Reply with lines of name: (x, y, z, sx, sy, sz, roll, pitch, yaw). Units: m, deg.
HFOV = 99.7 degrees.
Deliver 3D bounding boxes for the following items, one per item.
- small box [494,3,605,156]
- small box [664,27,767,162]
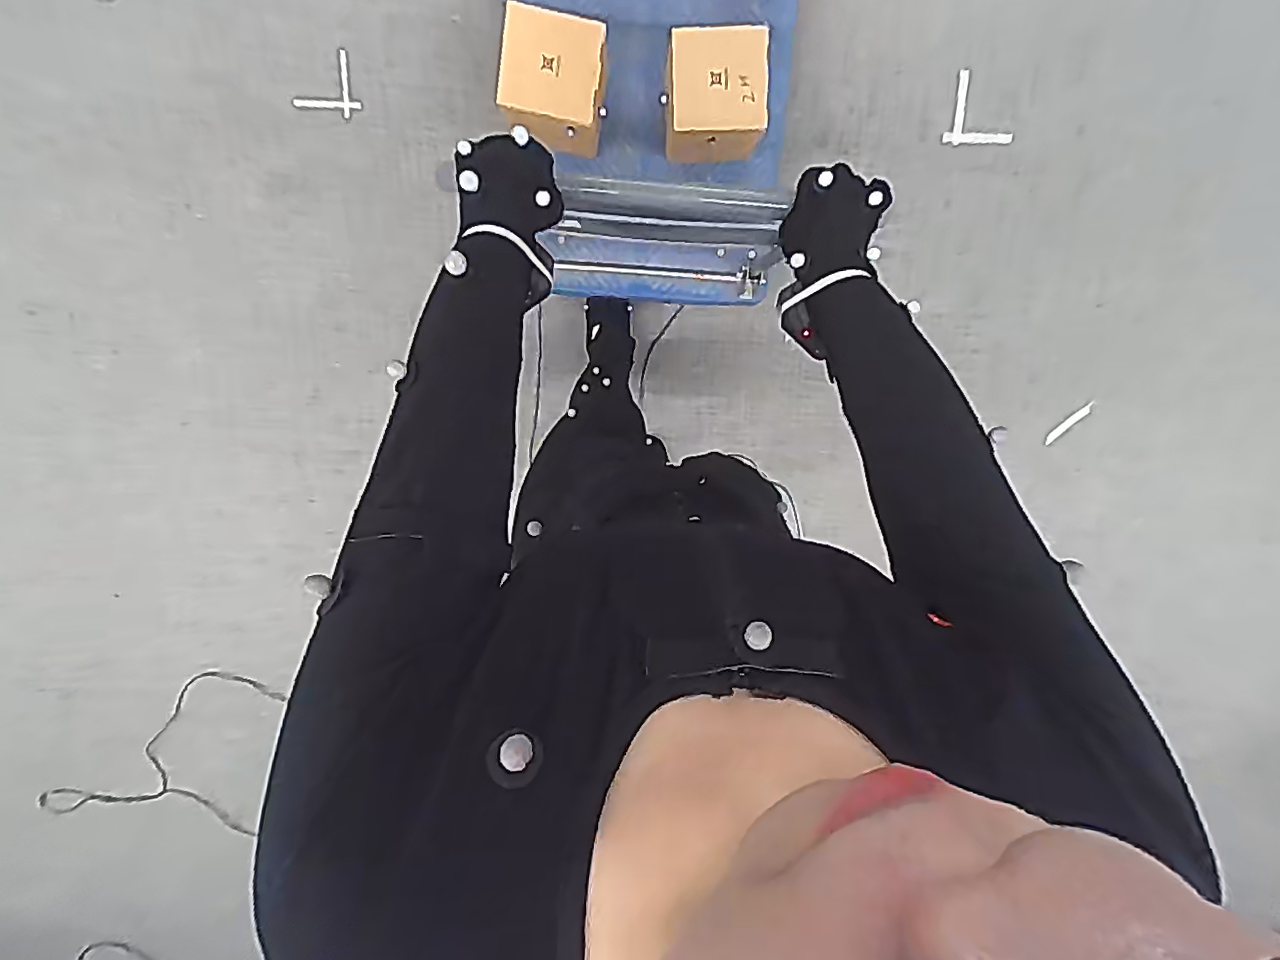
small box: (-0.166, -0.748, 1.032, 0.179, 0.176, 0.168, 9, 102, -5)
small box: (0.138, -0.733, 1.046, 0.179, 0.176, 0.168, -2, 103, -1)
